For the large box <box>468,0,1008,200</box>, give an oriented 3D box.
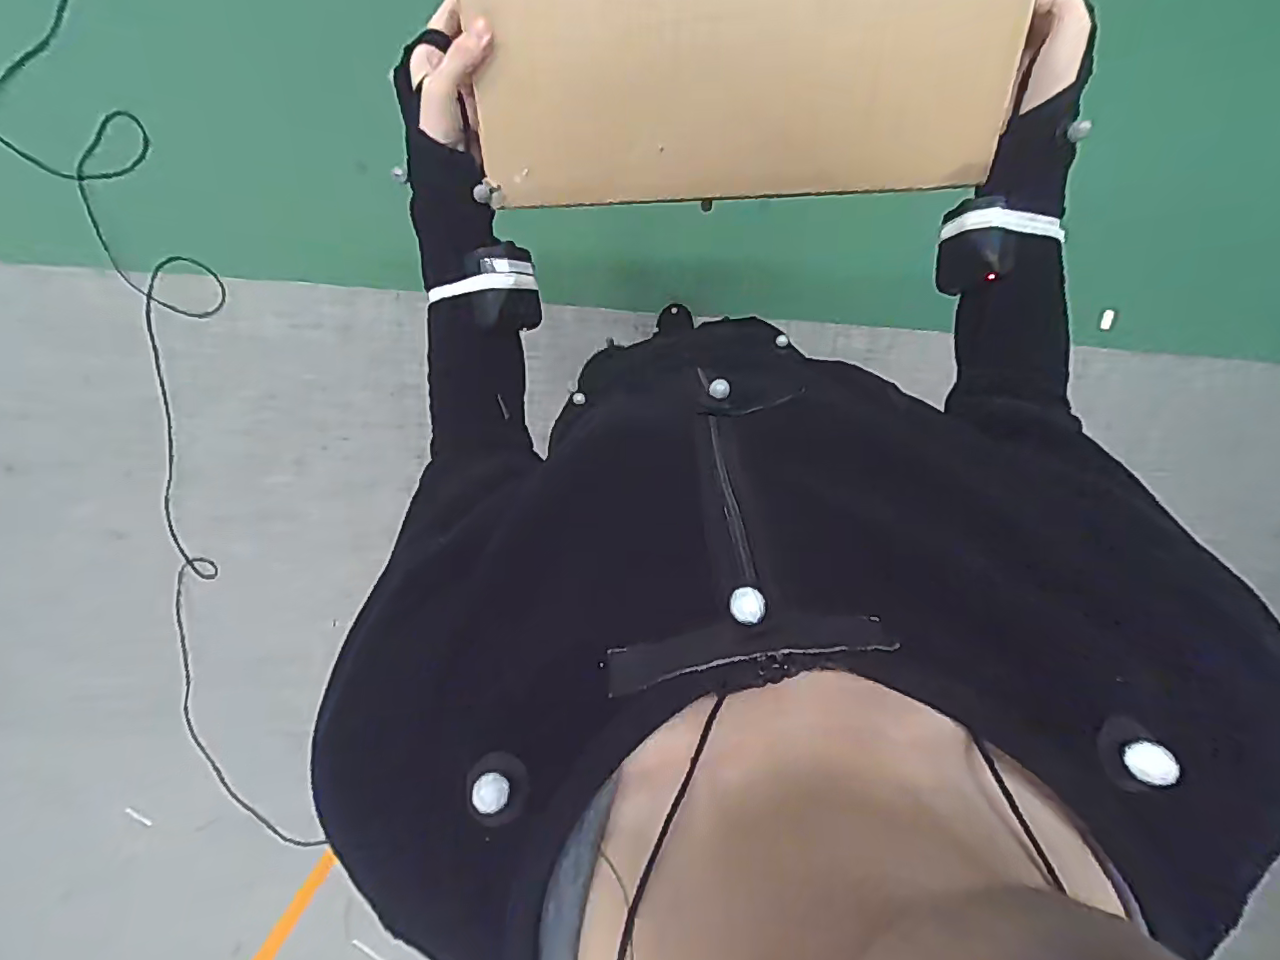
[{"bbox_3d":[0.067,-0.454,0.500,0.408,0.320,0.320,-4,119,-1],"label":"large box"}]
